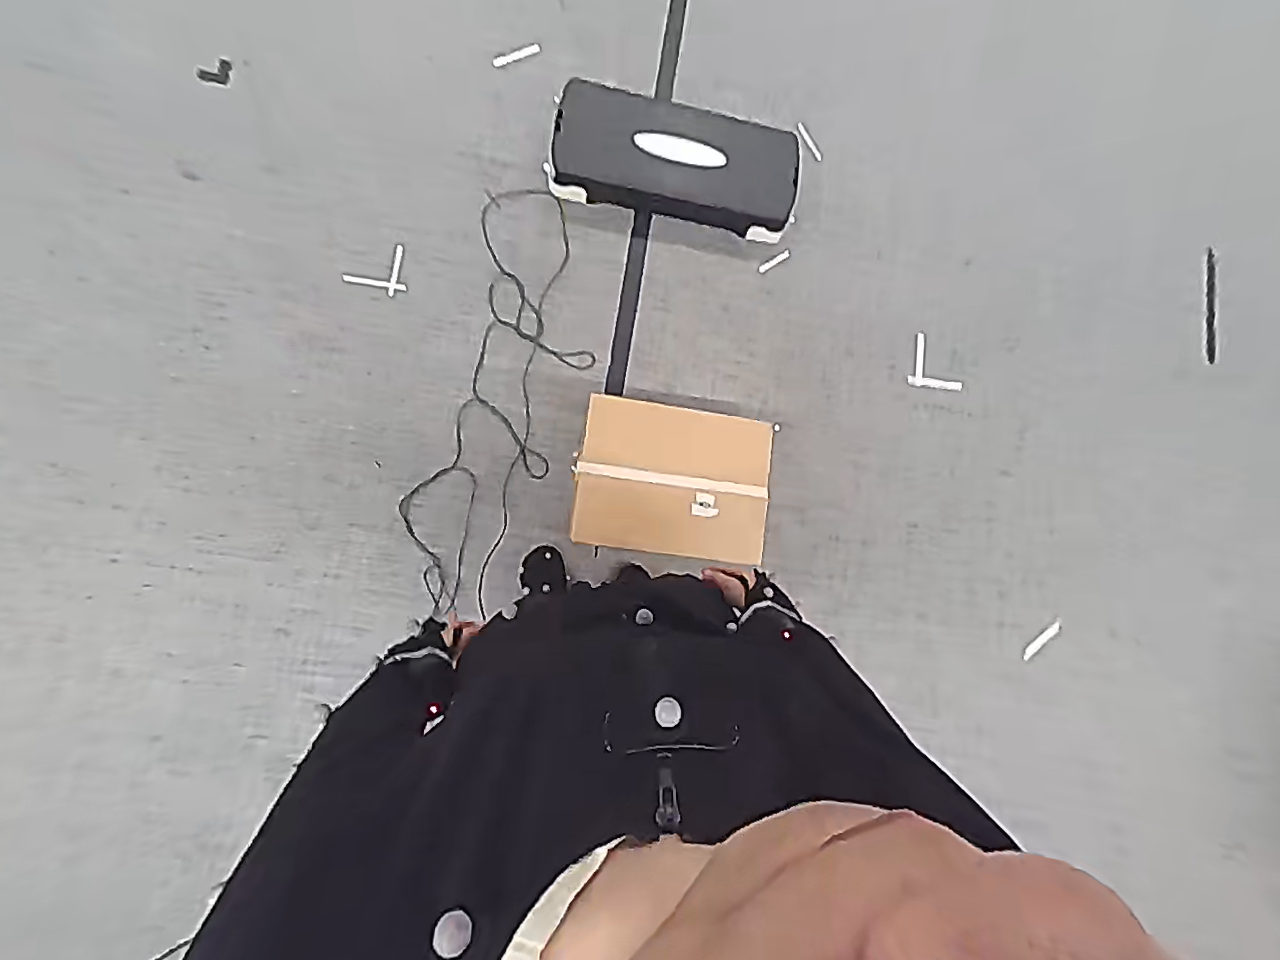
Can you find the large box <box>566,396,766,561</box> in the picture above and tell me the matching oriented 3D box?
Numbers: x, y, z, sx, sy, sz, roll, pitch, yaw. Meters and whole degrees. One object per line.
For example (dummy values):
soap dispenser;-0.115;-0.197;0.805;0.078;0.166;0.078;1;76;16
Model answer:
large box;0.043;0.014;1.285;0.408;0.320;0.320;8;84;-8
